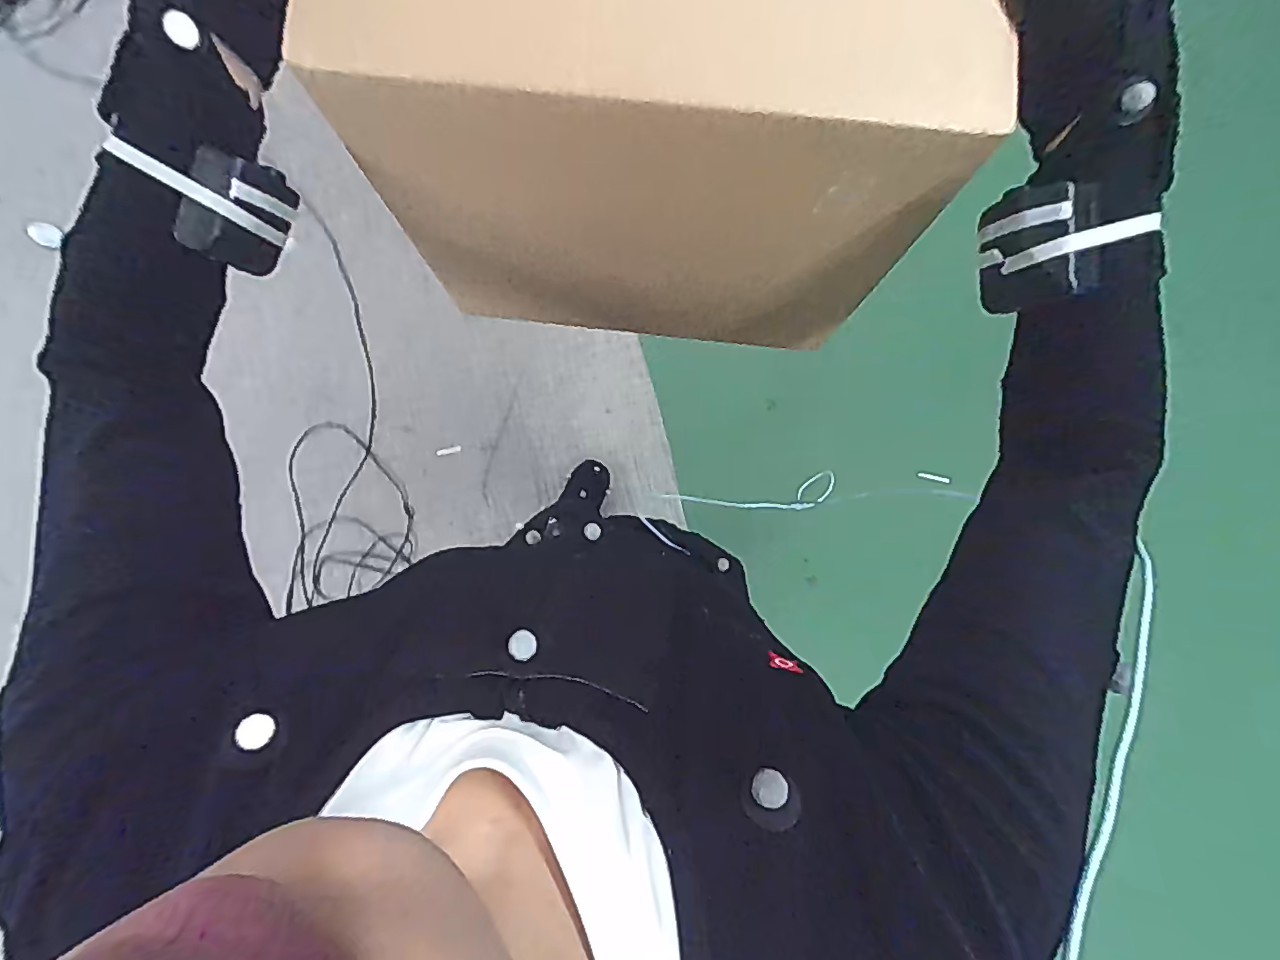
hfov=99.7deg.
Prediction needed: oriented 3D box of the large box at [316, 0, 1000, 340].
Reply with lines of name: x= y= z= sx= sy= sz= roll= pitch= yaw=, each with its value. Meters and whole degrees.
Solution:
large box: x=0.019 y=-0.345 z=0.480 sx=0.408 sy=0.320 sz=0.320 roll=7 pitch=81 yaw=-1
